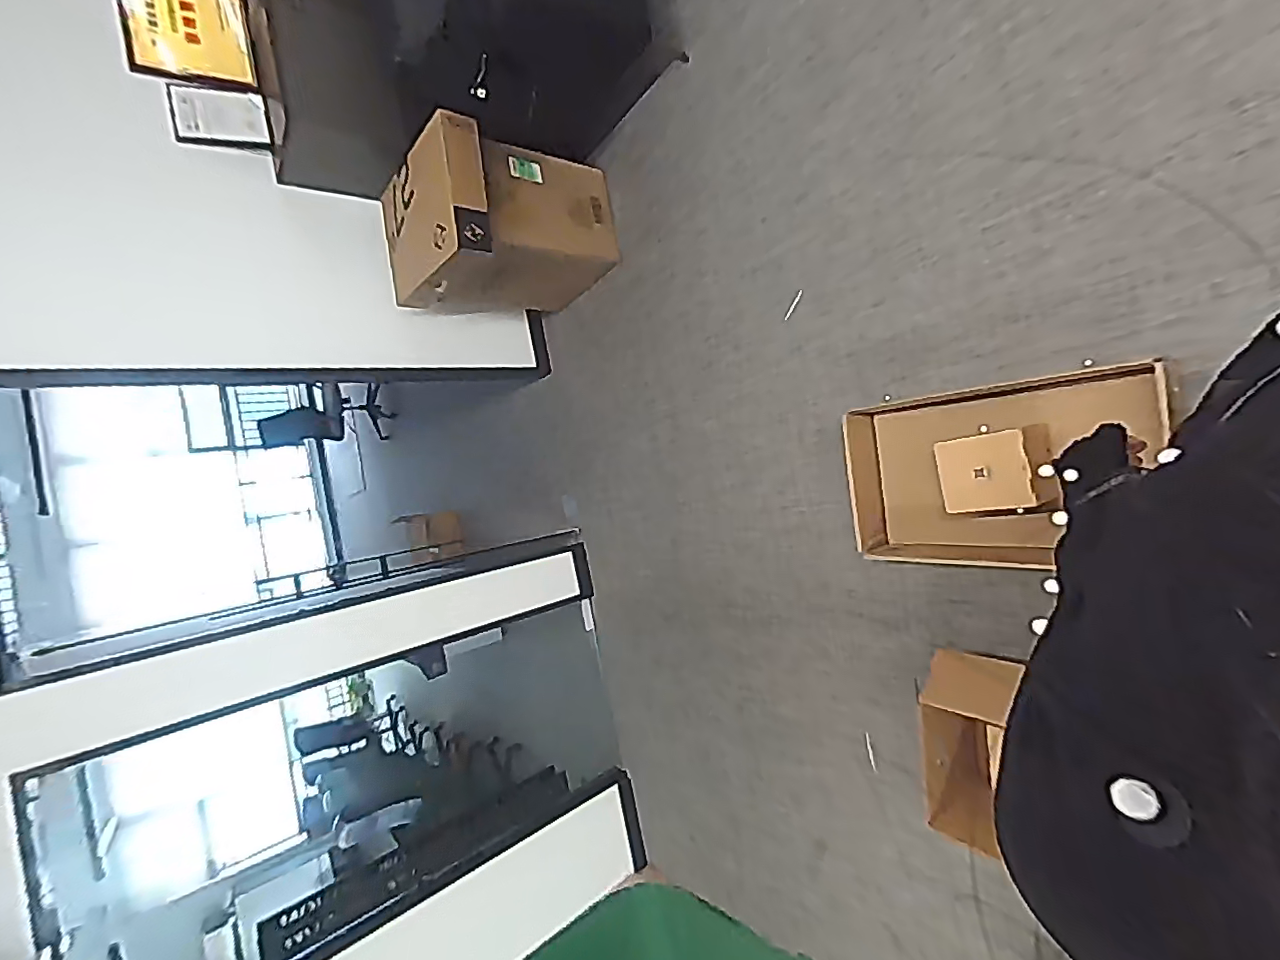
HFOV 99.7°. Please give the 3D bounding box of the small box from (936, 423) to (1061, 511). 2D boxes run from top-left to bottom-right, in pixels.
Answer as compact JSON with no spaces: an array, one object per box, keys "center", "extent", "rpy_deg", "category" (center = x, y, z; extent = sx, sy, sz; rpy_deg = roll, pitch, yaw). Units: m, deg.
[{"center":[0.801,-0.028,1.210],"extent":[0.179,0.176,0.168],"rpy_deg":[-13,86,51],"category":"small box"}]
